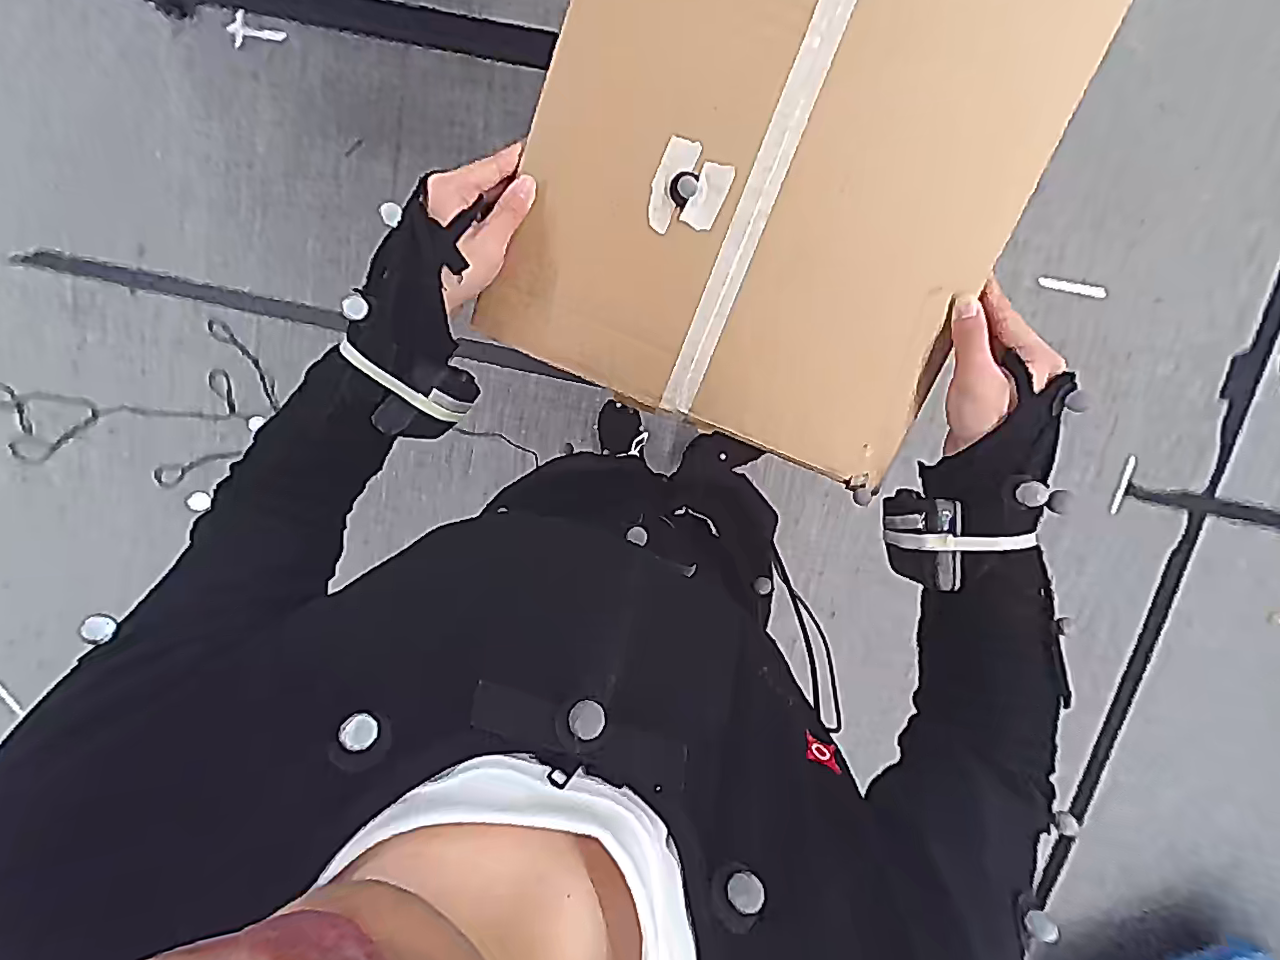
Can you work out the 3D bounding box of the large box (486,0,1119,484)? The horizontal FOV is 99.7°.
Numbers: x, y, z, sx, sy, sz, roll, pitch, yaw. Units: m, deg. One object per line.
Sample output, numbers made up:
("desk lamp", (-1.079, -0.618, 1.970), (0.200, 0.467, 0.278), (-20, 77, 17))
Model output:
("large box", (0.109, -0.261, 0.481), (0.320, 0.320, 0.408), (21, 103, 1))
